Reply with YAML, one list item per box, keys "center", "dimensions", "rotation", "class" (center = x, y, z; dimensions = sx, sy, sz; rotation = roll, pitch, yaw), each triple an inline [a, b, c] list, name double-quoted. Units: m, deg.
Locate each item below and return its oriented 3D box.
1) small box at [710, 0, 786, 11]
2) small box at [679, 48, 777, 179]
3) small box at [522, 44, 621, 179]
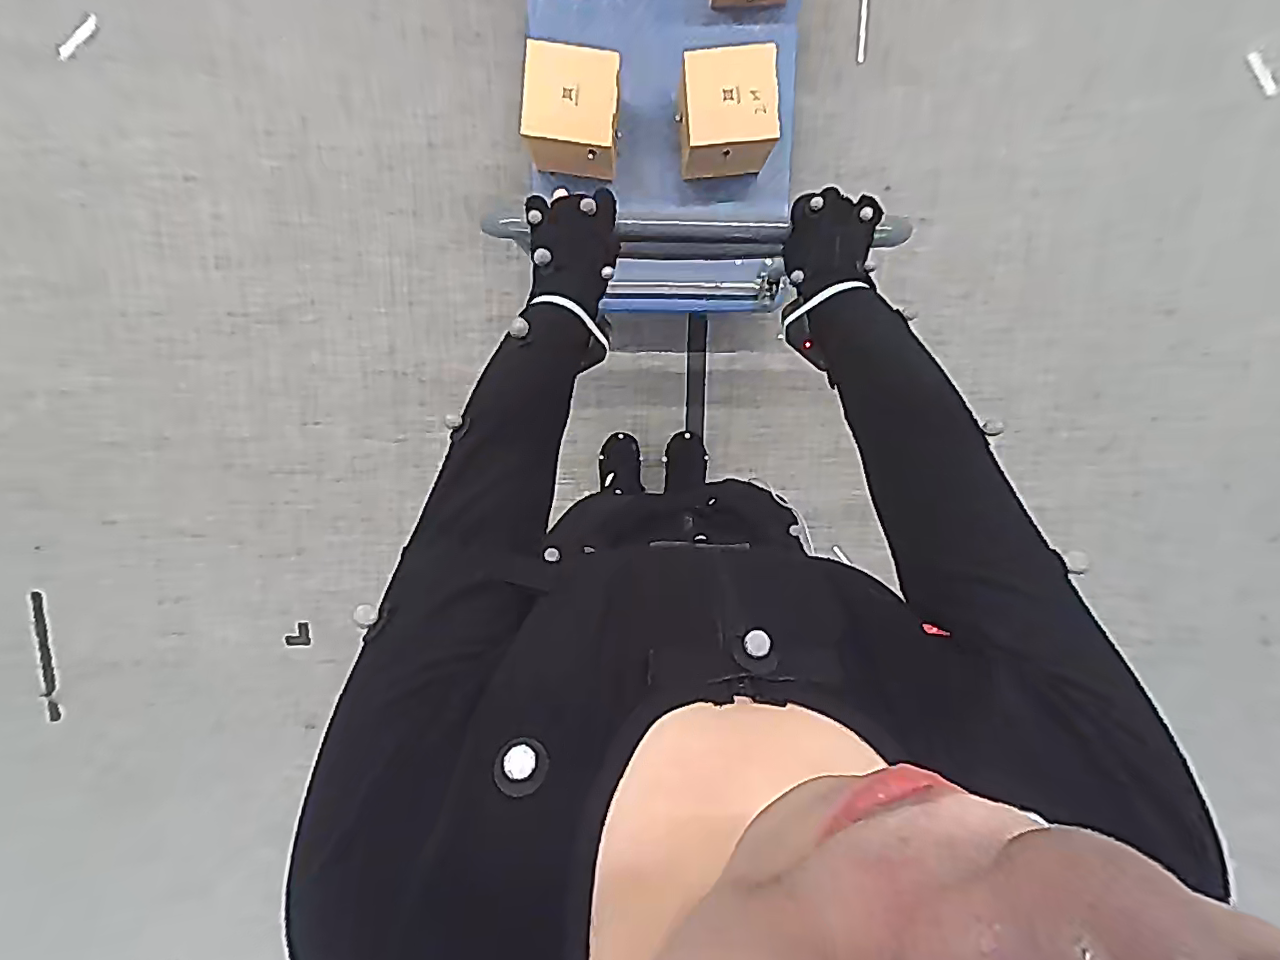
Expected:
- center: [0.224, -1.067, 1.050]
  dimensions: [0.168, 0.176, 0.179]
  rotation: [-3, 101, 0]
  class: "small box"
- center: [0.172, -0.737, 1.107]
  dimensions: [0.179, 0.176, 0.168]
  rotation: [-5, 100, 0]
  class: "small box"
- center: [-0.133, -0.737, 1.101]
  dimensions: [0.179, 0.176, 0.168]
  rotation: [6, 99, -3]
  class: "small box"
